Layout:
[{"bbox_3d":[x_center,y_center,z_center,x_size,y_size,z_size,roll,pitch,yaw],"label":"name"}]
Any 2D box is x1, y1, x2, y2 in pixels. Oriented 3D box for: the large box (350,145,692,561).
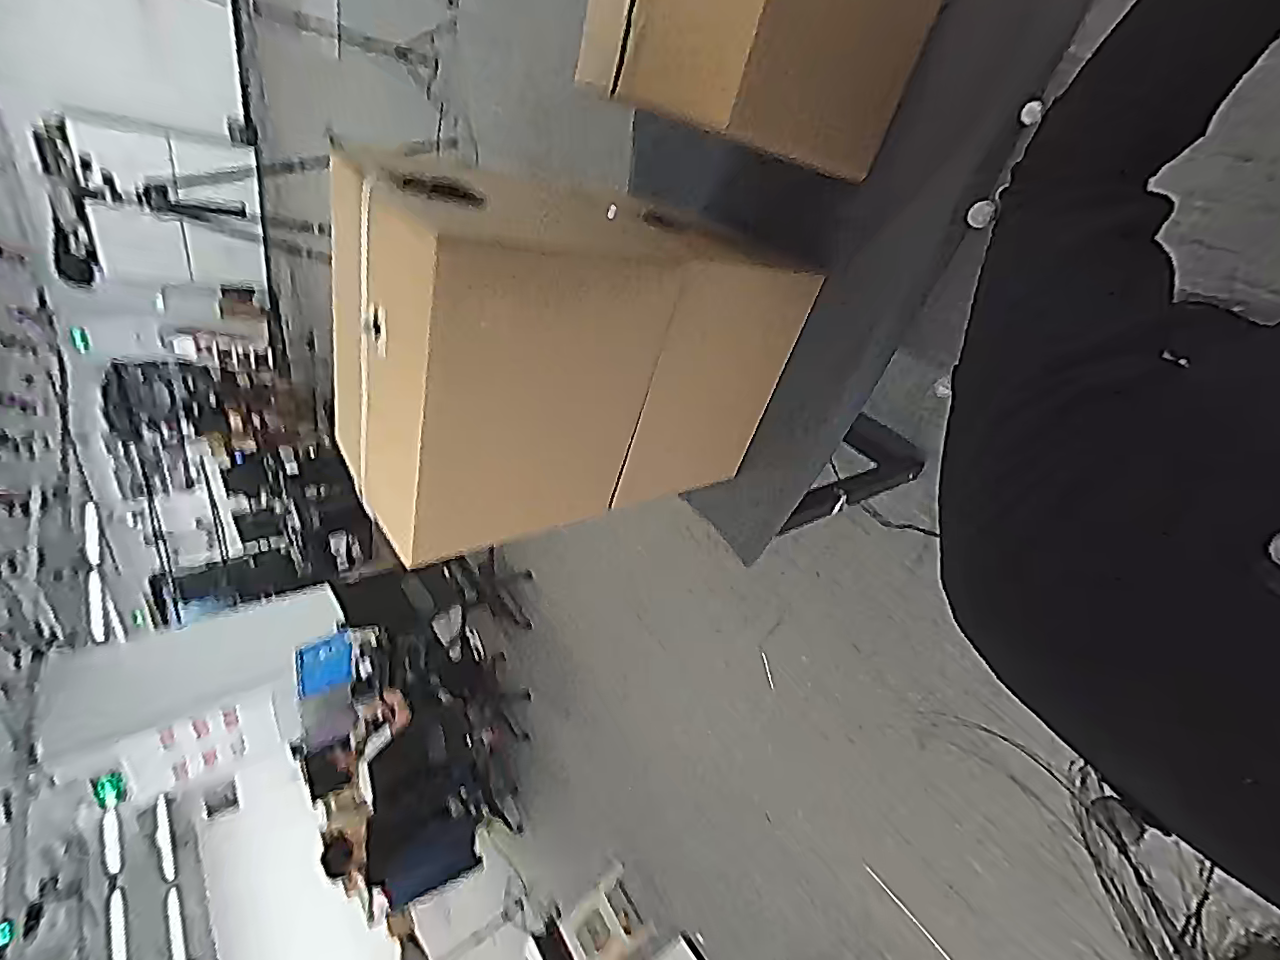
[{"bbox_3d":[-0.187,-0.165,0.740,0.320,0.320,0.408,43,129,33],"label":"large box"}]
